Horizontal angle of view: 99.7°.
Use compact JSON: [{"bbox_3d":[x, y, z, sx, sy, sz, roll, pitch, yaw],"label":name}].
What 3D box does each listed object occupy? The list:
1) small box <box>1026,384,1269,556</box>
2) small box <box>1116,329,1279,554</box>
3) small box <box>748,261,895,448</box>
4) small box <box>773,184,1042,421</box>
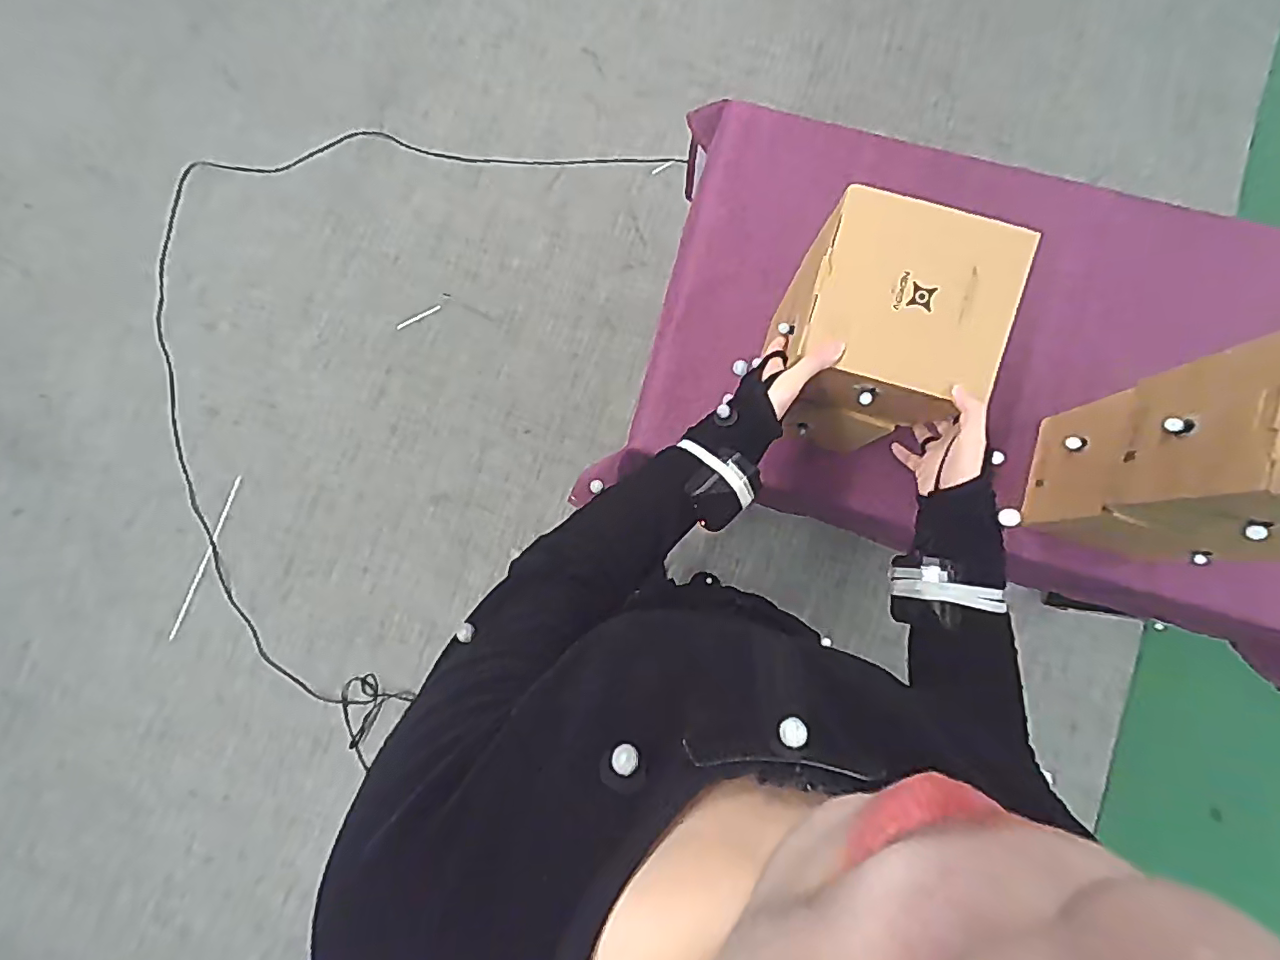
[{"bbox_3d":[0.652,-0.002,0.704,0.179,0.176,0.168,17,83,3],"label":"small box"},{"bbox_3d":[0.642,-0.026,0.542,0.179,0.176,0.168,21,84,4],"label":"small box"},{"bbox_3d":[0.254,-0.156,0.733,0.168,0.176,0.179,19,83,3],"label":"small box"},{"bbox_3d":[0.252,-0.165,0.560,0.179,0.176,0.168,17,92,3],"label":"small box"}]
